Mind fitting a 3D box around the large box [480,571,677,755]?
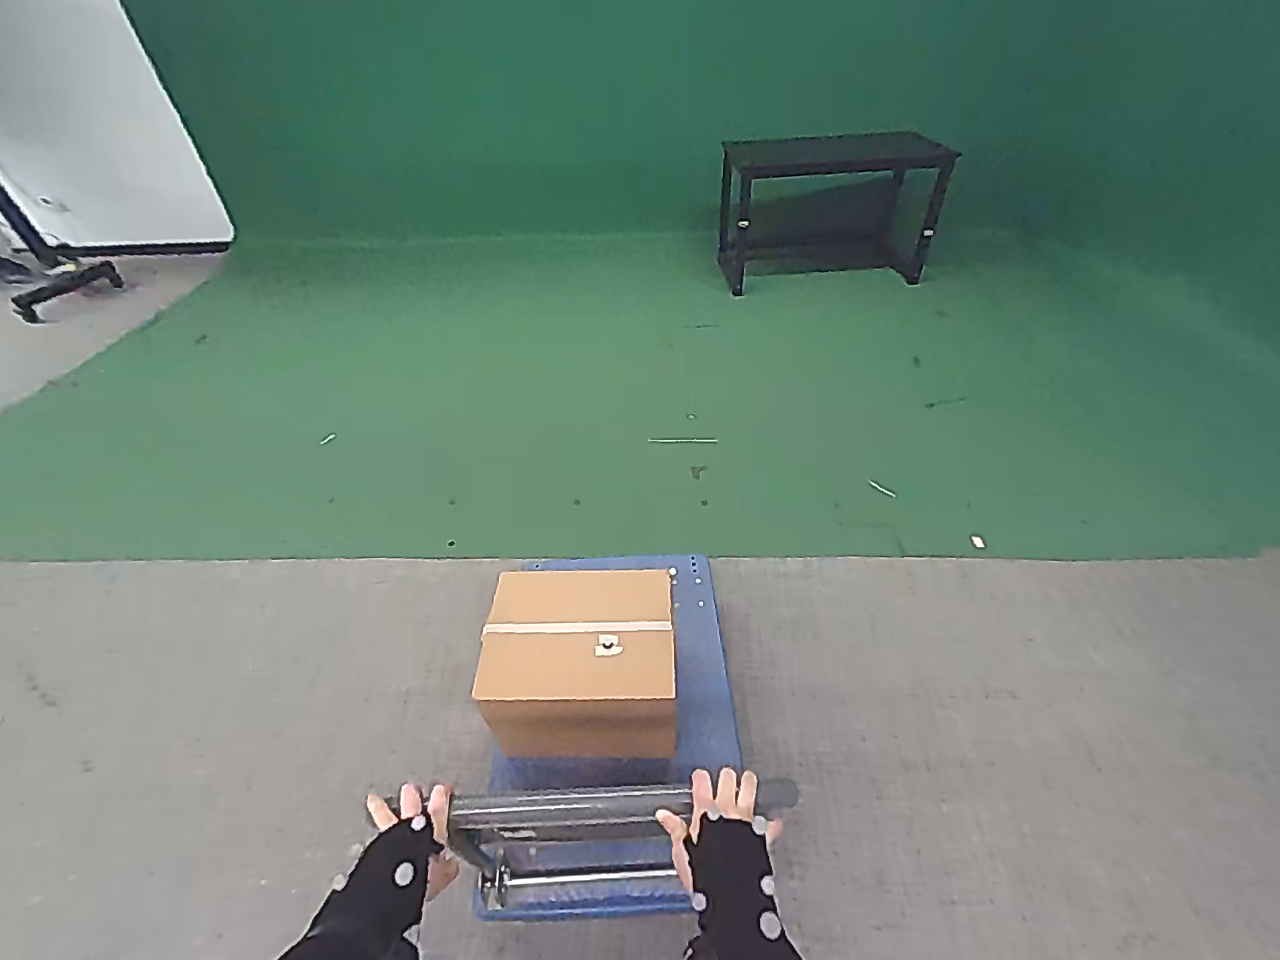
[{"bbox_3d":[-0.125,0.435,1.290,0.408,0.320,0.320,-1,43,1],"label":"large box"}]
